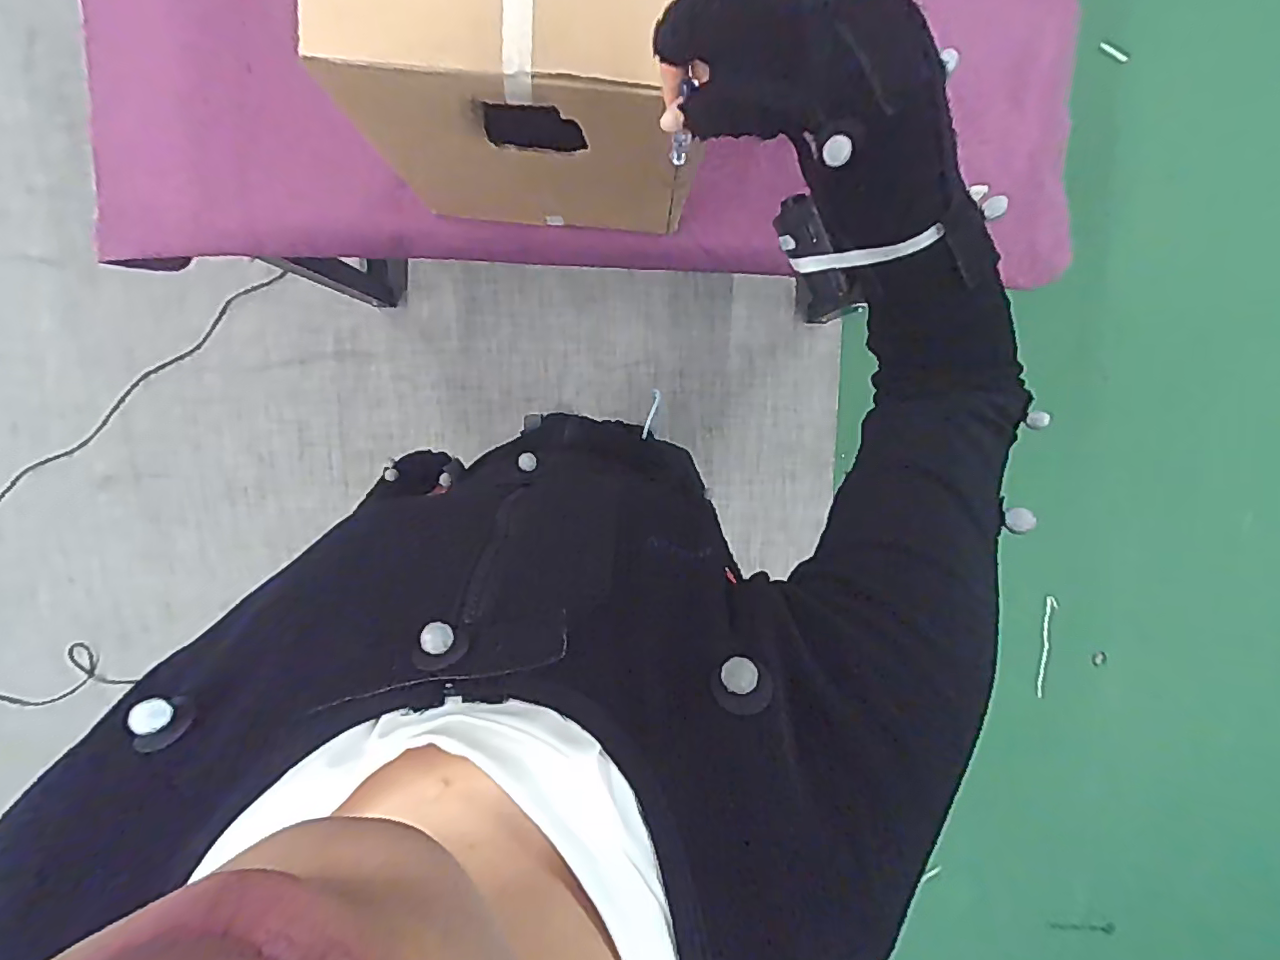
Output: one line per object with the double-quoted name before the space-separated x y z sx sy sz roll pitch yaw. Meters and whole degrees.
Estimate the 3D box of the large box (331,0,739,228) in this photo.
"large box" -0.079 -0.519 0.536 0.320 0.320 0.408 4 98 -4
